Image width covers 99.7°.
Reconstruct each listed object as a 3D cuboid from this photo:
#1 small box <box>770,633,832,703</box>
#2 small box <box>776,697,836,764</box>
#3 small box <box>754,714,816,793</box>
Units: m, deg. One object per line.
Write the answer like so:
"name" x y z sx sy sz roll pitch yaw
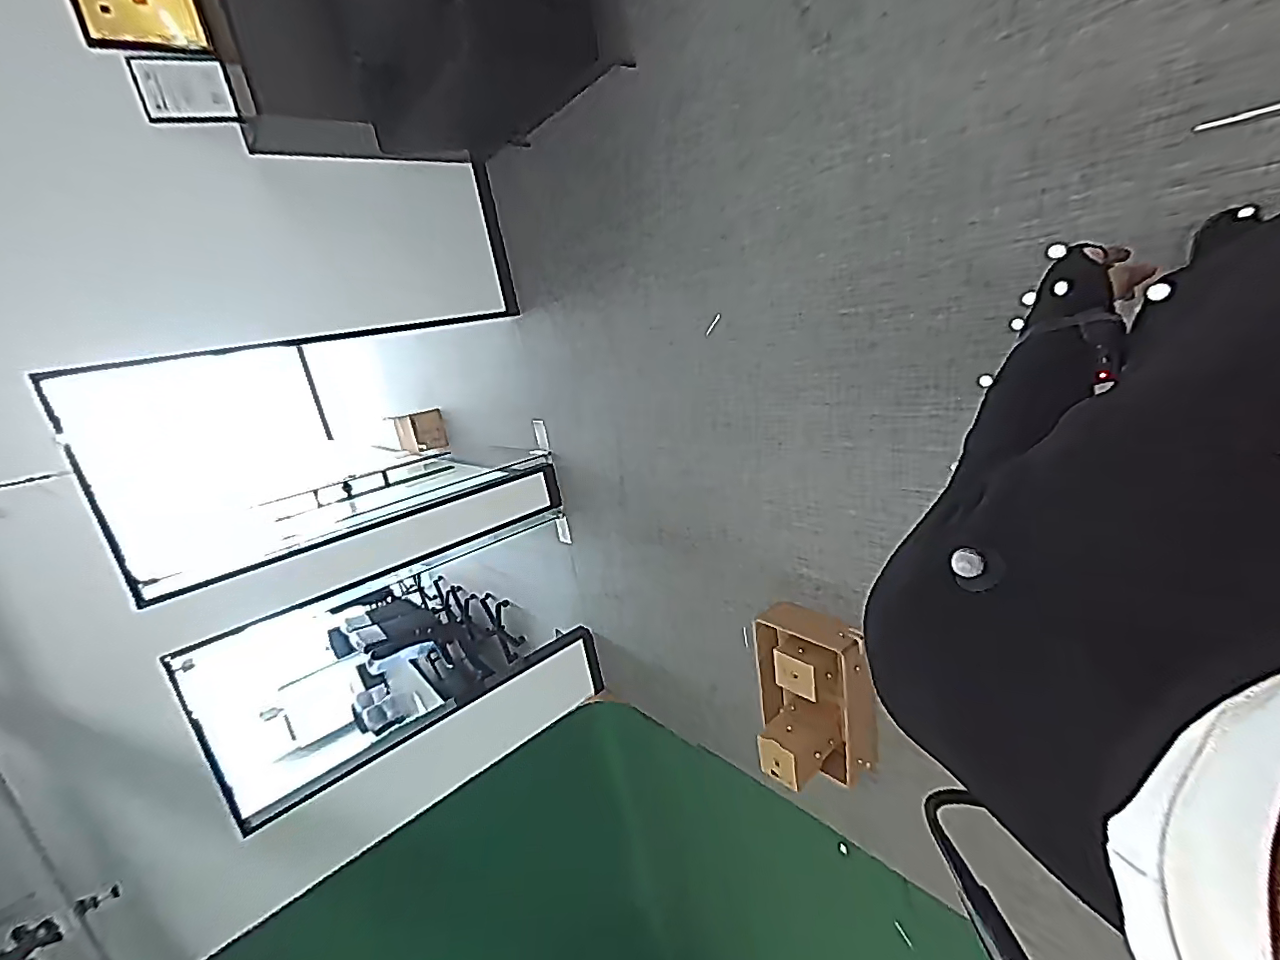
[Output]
"small box" 0.625 0.717 2.087 0.179 0.176 0.168 12 117 48
"small box" 0.670 0.987 2.168 0.179 0.176 0.168 11 115 49
"small box" 0.555 1.032 2.058 0.168 0.176 0.179 11 114 49
